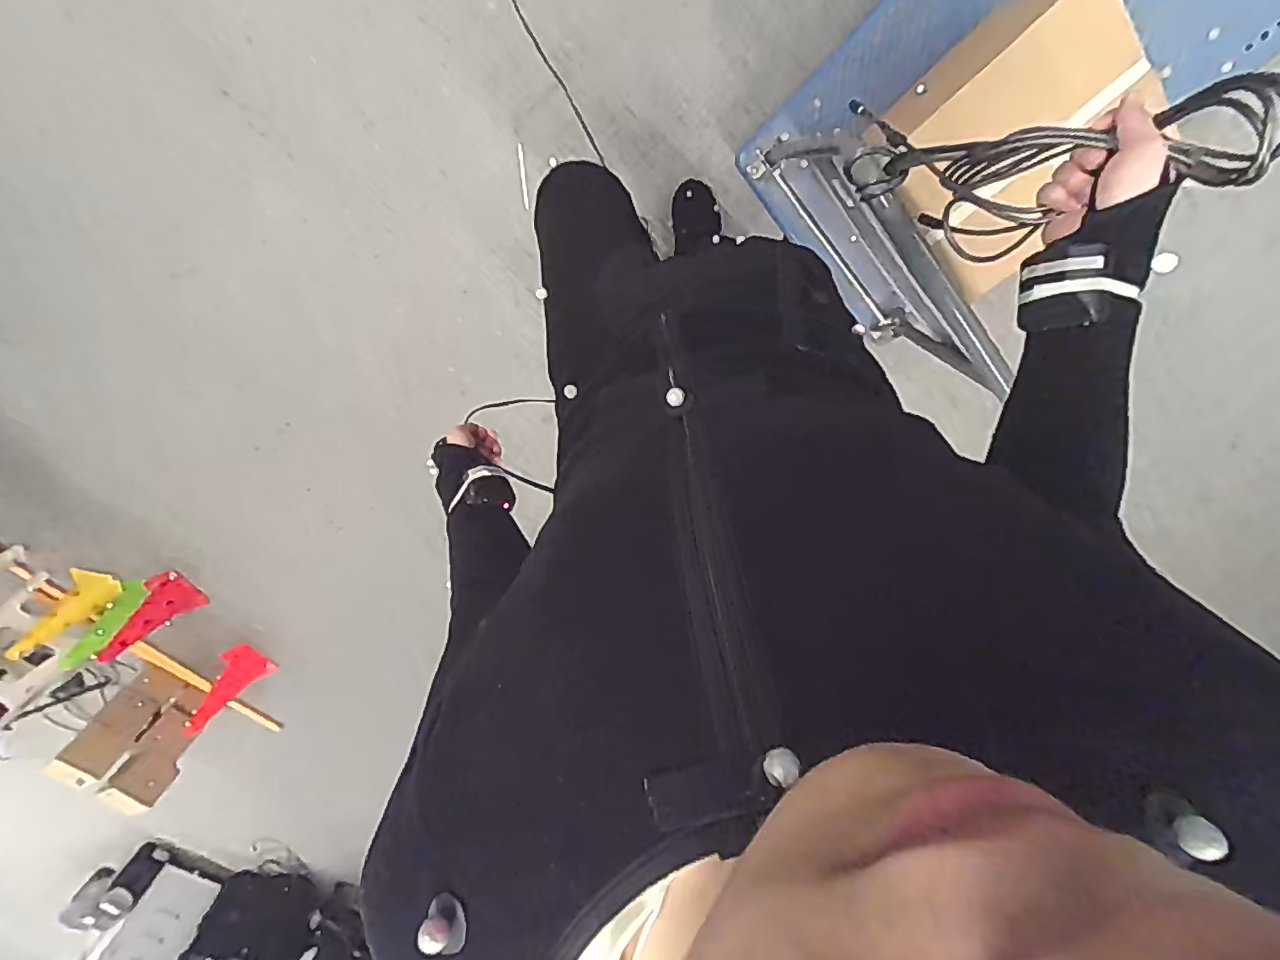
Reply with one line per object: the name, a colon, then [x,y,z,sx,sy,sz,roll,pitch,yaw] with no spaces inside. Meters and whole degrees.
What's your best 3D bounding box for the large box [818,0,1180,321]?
large box: [0.612,-0.575,1.002,0.408,0.320,0.320,-38,112,23]
